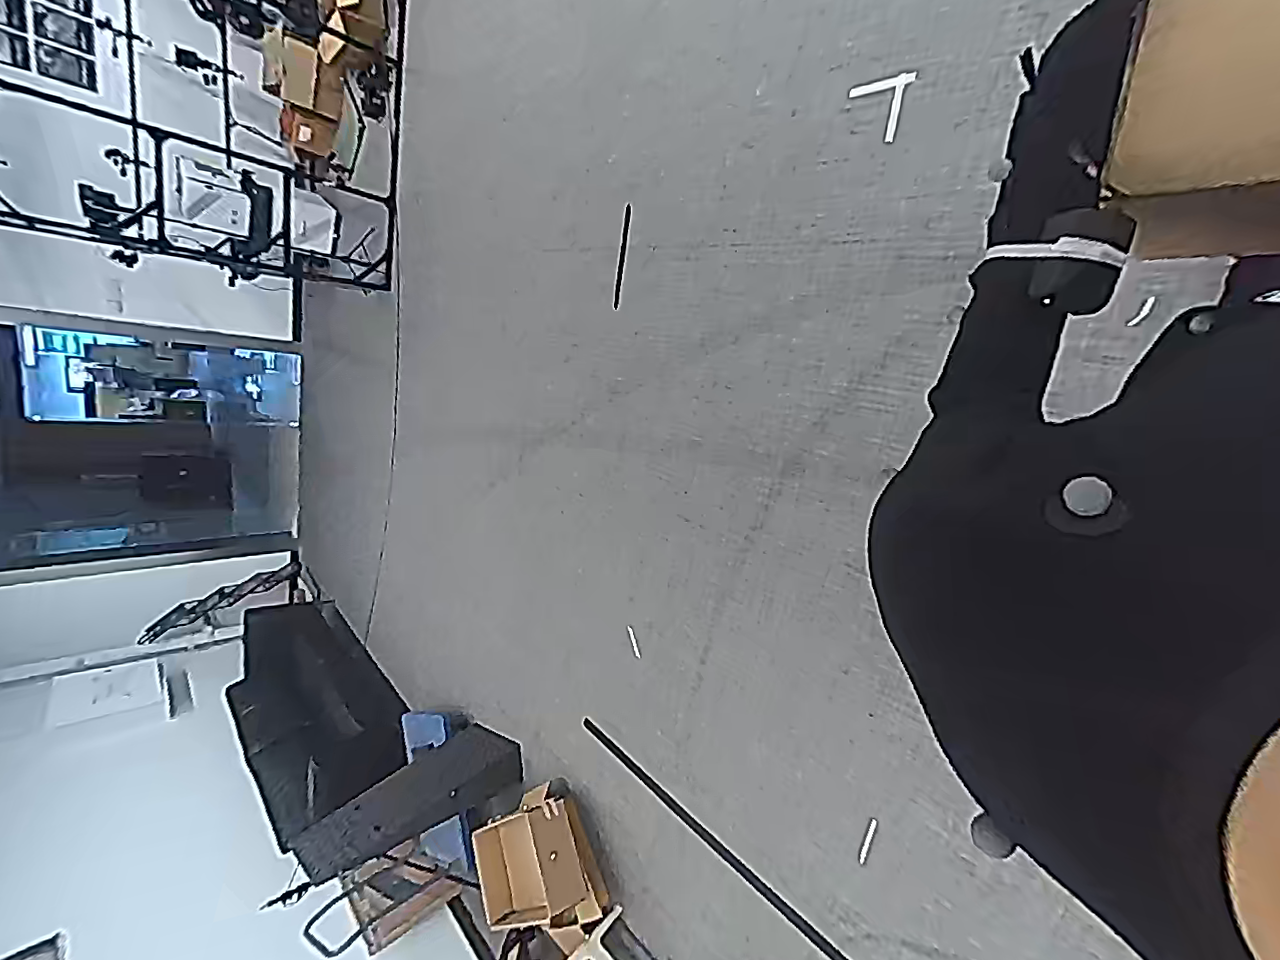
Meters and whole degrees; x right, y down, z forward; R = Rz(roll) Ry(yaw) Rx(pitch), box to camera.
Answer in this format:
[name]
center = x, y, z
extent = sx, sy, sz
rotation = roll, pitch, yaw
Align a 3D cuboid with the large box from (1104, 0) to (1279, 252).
[large box]
center = 0.598, -0.348, 0.342
extent = 0.408, 0.320, 0.320
rotation = 17, 110, 43
